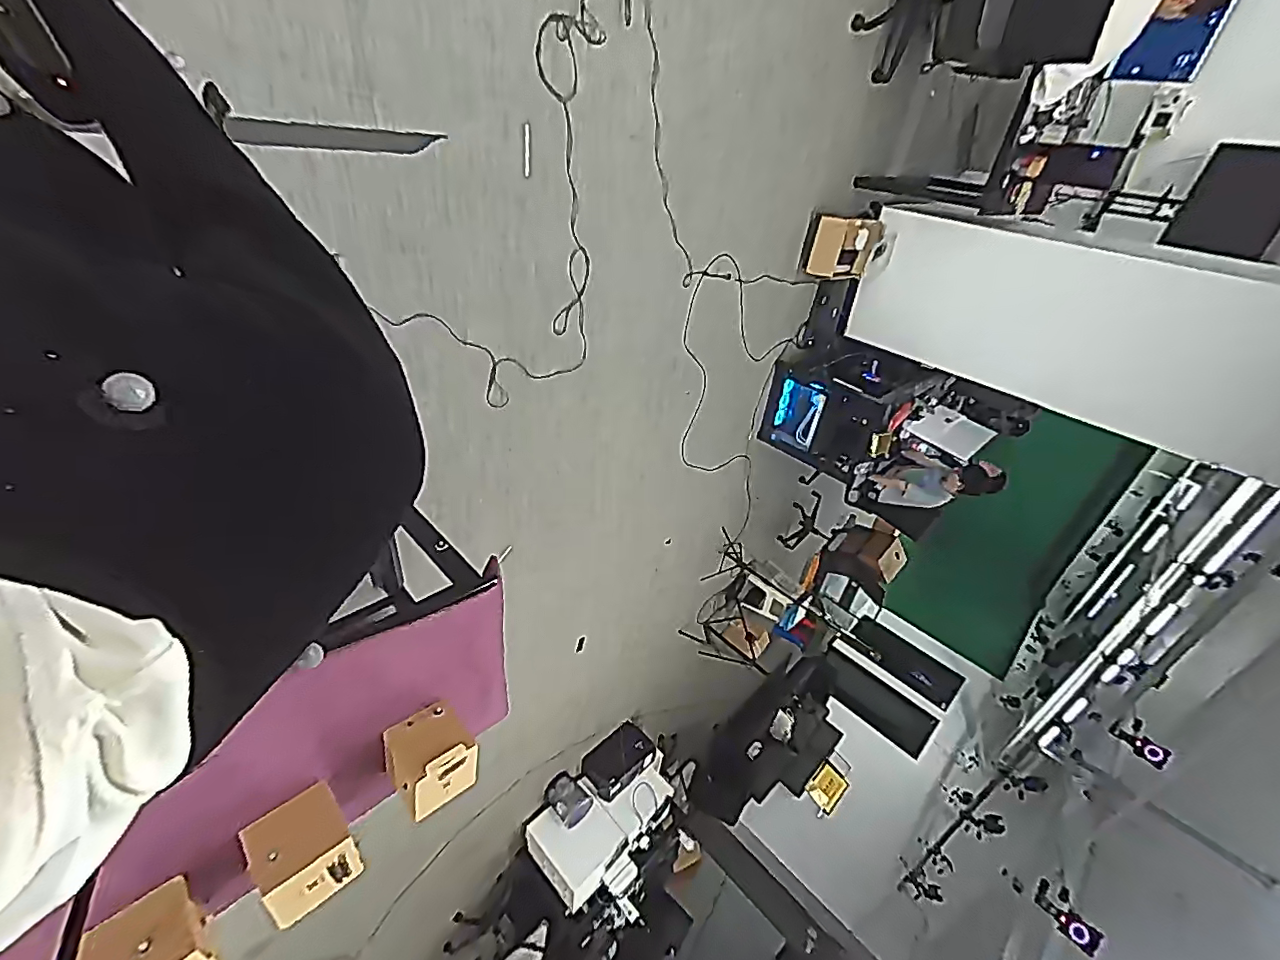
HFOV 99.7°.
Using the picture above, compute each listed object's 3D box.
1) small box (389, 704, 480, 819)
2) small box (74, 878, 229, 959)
[{"bbox_3d":[-0.530,0.710,1.391,0.168,0.176,0.179,-19,132,-42],"label":"small box"},{"bbox_3d":[-0.943,0.935,1.052,0.179,0.176,0.168,-25,134,-40],"label":"small box"}]
